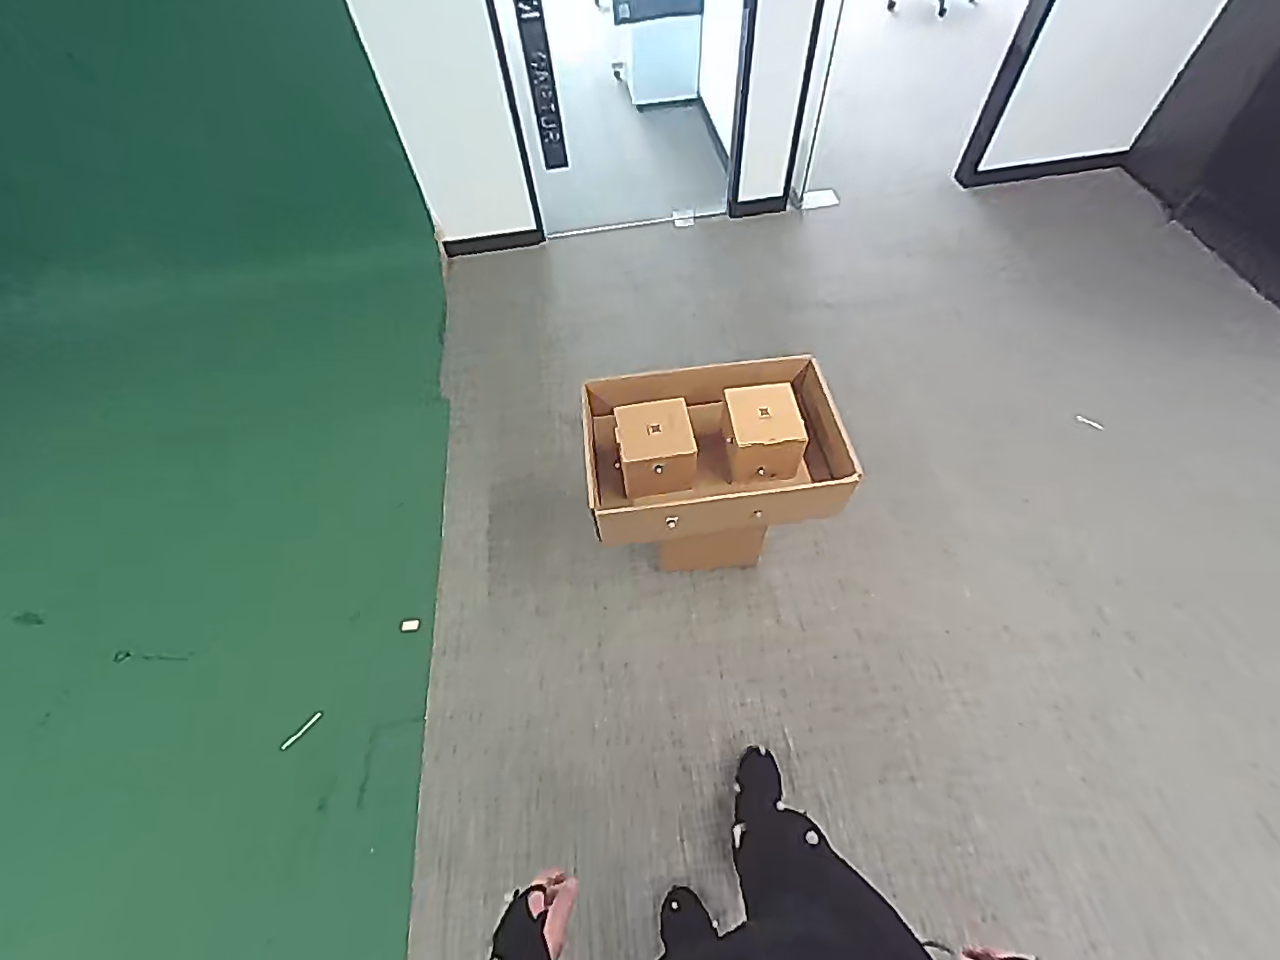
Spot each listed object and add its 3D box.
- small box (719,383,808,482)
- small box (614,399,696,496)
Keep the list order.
[{"bbox_3d":[0.296,-0.115,1.342,0.168,0.176,0.179,-6,58,-1],"label":"small box"},{"bbox_3d":[0.036,-0.075,1.331,0.179,0.176,0.168,-7,57,-3],"label":"small box"}]
